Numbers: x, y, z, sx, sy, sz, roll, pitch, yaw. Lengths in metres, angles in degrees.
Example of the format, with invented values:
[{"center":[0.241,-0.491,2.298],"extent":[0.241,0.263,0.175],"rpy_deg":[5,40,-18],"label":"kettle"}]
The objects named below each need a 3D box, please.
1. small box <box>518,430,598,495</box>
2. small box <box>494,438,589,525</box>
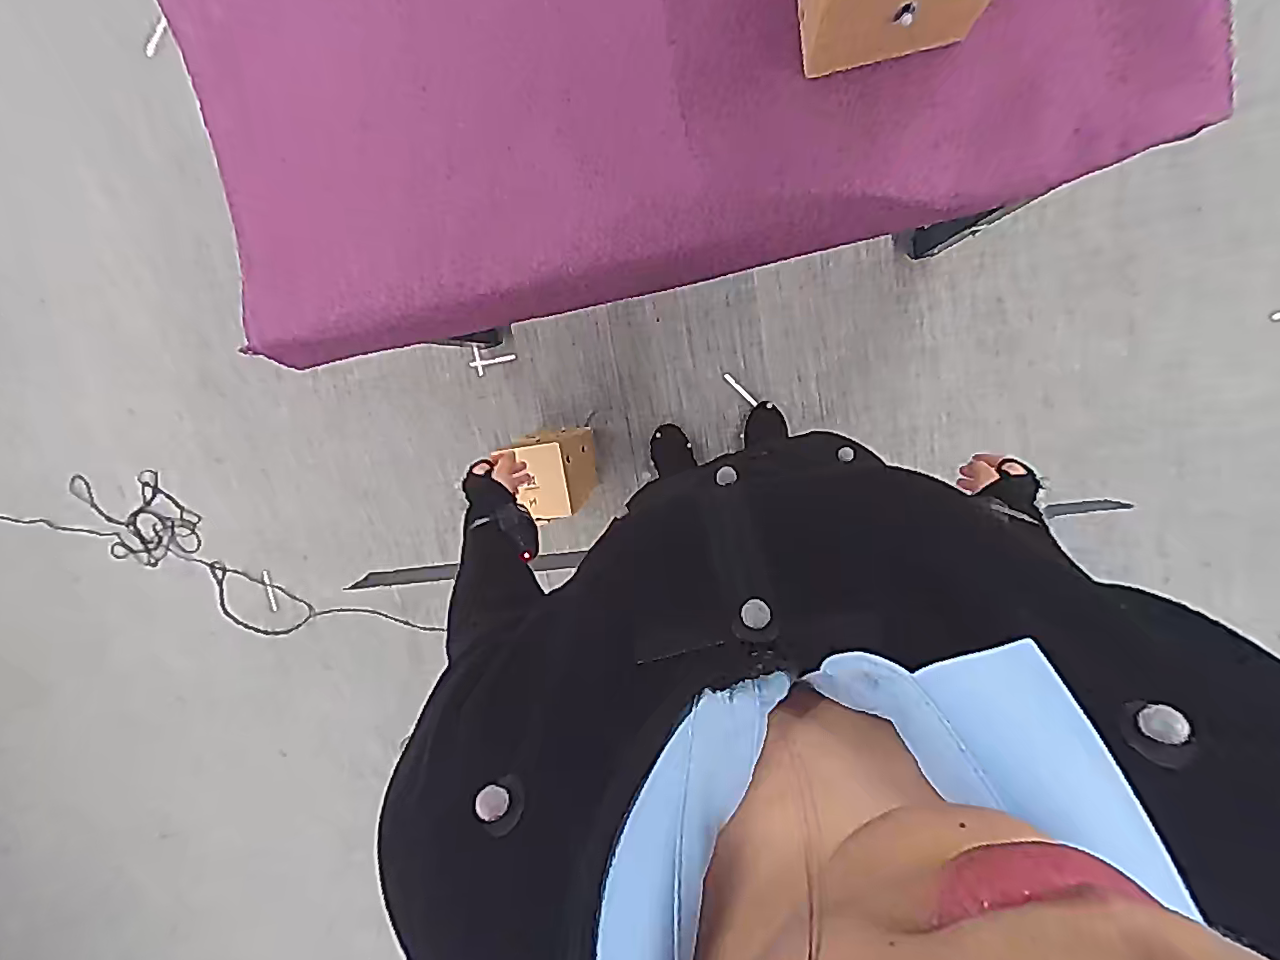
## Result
[{"center":[-0.215,-0.037,1.462],"extent":[0.168,0.176,0.179],"rpy_deg":[-2,101,8],"label":"small box"},{"center":[-0.230,-0.004,1.300],"extent":[0.168,0.176,0.179],"rpy_deg":[-8,100,10],"label":"small box"}]
